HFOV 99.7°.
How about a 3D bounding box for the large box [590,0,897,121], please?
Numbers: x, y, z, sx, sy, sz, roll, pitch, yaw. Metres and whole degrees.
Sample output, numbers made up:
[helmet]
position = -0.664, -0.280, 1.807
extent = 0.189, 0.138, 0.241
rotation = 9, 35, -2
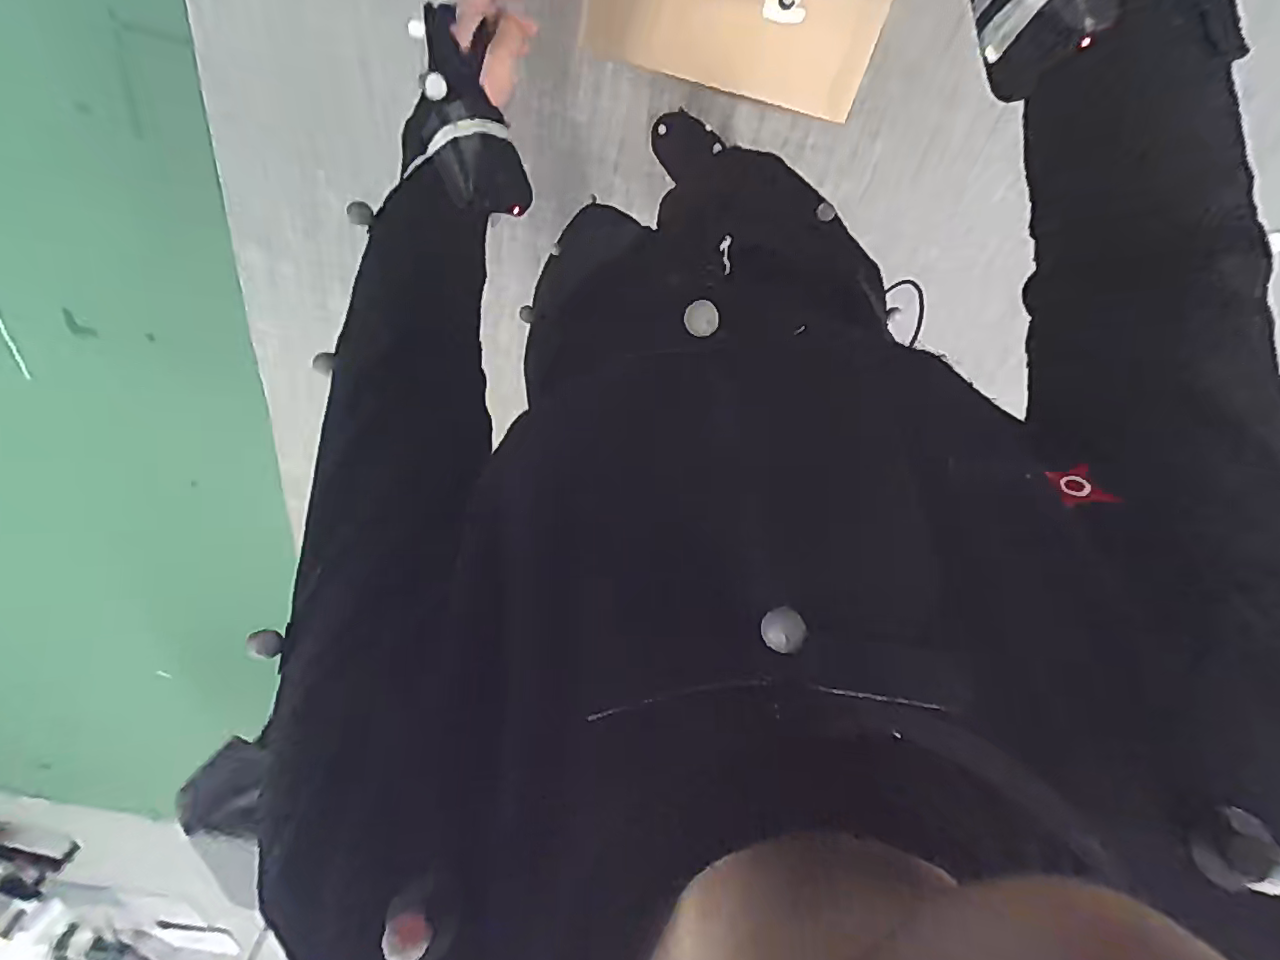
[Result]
[large box]
position = 0.157, -0.774, 0.814
extent = 0.408, 0.320, 0.320
rotation = 12, 127, -5
